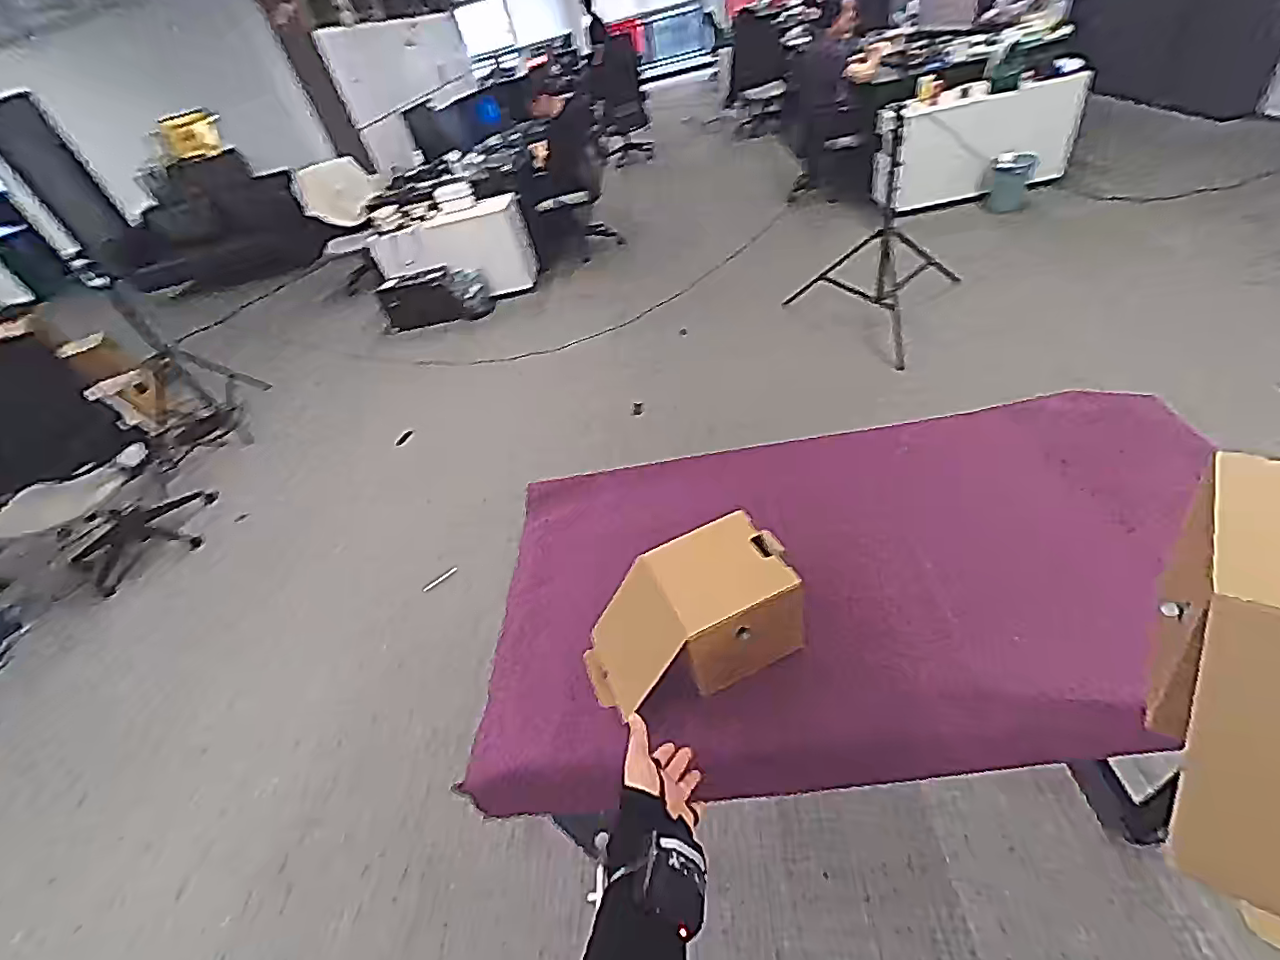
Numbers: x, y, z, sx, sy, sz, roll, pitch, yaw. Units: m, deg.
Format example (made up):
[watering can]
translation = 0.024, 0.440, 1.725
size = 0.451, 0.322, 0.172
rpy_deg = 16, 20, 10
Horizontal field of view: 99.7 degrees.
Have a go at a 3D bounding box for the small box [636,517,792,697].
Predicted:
[small box]
translation = 0.116, 0.194, 0.821
size = 0.179, 0.176, 0.168
rpy_deg = -23, 41, -9
